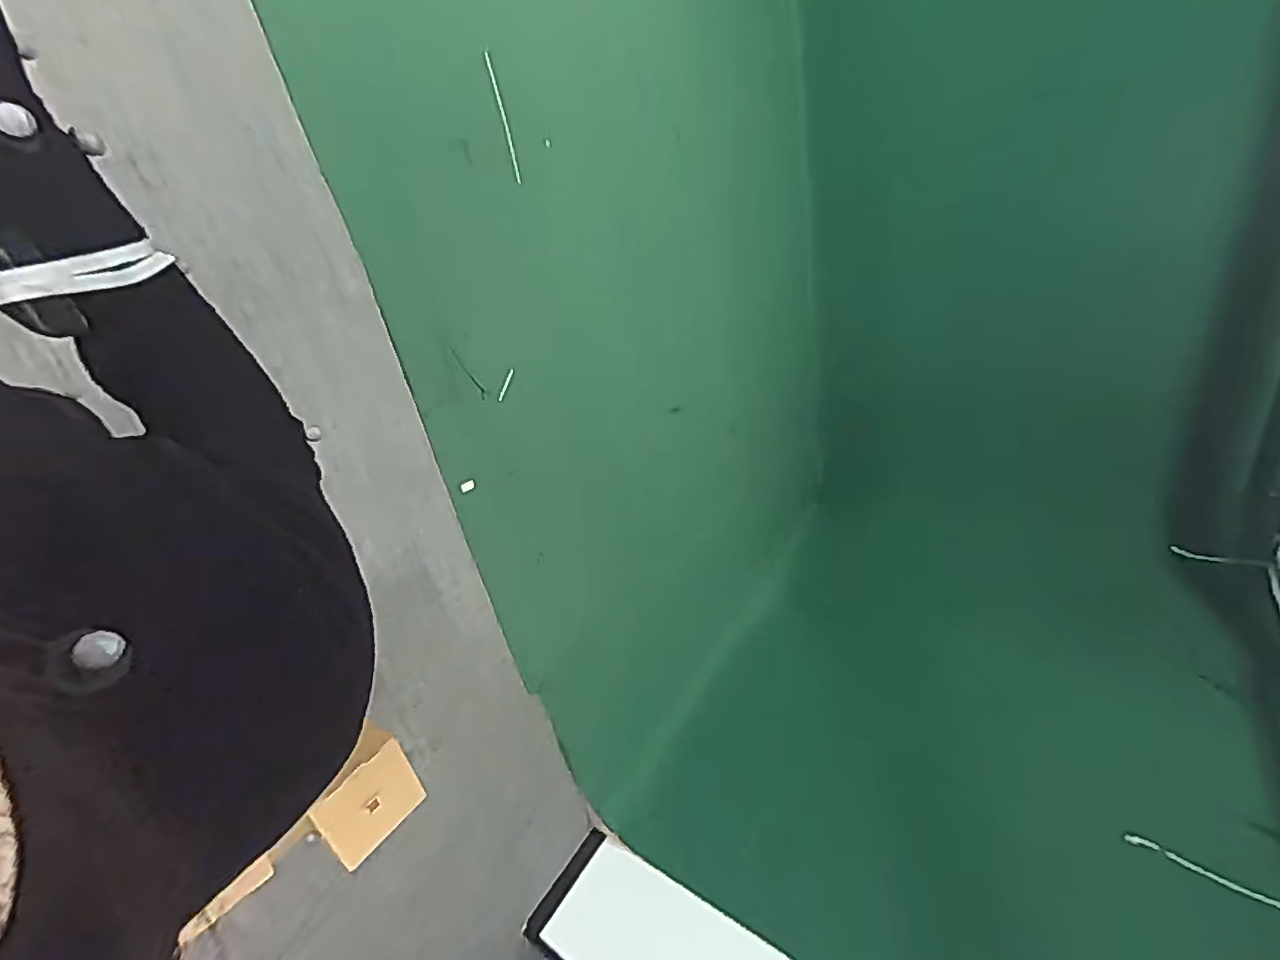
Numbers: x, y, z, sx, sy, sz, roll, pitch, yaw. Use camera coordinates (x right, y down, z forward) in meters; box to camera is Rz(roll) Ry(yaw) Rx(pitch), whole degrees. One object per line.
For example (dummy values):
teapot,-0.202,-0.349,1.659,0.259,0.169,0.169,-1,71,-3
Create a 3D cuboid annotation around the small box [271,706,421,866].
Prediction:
small box,-0.559,0.573,1.034,0.168,0.176,0.179,-37,126,-43
